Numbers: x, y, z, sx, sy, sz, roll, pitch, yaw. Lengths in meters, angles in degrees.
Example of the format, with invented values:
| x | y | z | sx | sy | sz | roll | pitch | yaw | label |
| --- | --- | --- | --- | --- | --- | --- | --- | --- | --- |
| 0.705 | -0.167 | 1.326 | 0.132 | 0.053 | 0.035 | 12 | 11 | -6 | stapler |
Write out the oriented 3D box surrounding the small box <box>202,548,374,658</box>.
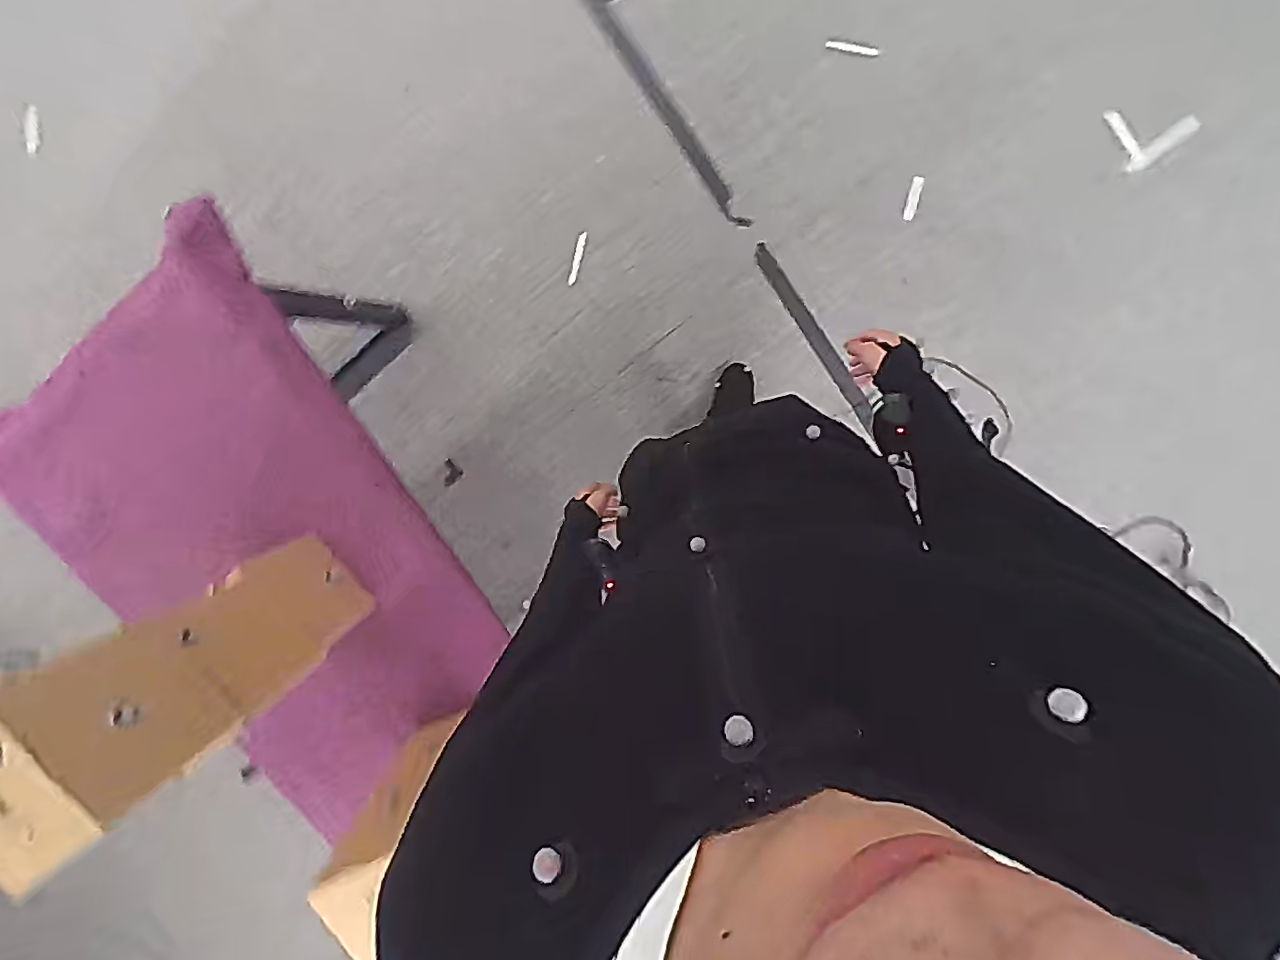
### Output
| x | y | z | sx | sy | sz | roll | pitch | yaw | label |
| --- | --- | --- | --- | --- | --- | --- | --- | --- | --- |
| -0.608 | 0.237 | 0.927 | 0.168 | 0.176 | 0.179 | -39 | 96 | 14 | small box |

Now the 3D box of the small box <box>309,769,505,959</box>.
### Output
| x | y | z | sx | sy | sz | roll | pitch | yaw | label |
| --- | --- | --- | --- | --- | --- | --- | --- | --- | --- |
| -0.330 | 0.580 | 0.806 | 0.168 | 0.176 | 0.179 | -29 | 98 | 10 | small box |

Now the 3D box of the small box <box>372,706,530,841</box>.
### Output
| x | y | z | sx | sy | sz | roll | pitch | yaw | label |
| --- | --- | --- | --- | --- | --- | --- | --- | --- | --- |
| -0.326 | 0.546 | 0.968 | 0.179 | 0.176 | 0.168 | -27 | 99 | 10 | small box |

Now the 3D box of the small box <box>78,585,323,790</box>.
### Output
| x | y | z | sx | sy | sz | roll | pitch | yaw | label |
| --- | --- | --- | --- | --- | --- | --- | --- | --- | --- |
| -0.605 | 0.282 | 0.769 | 0.168 | 0.176 | 0.179 | -39 | 96 | 13 | small box |
